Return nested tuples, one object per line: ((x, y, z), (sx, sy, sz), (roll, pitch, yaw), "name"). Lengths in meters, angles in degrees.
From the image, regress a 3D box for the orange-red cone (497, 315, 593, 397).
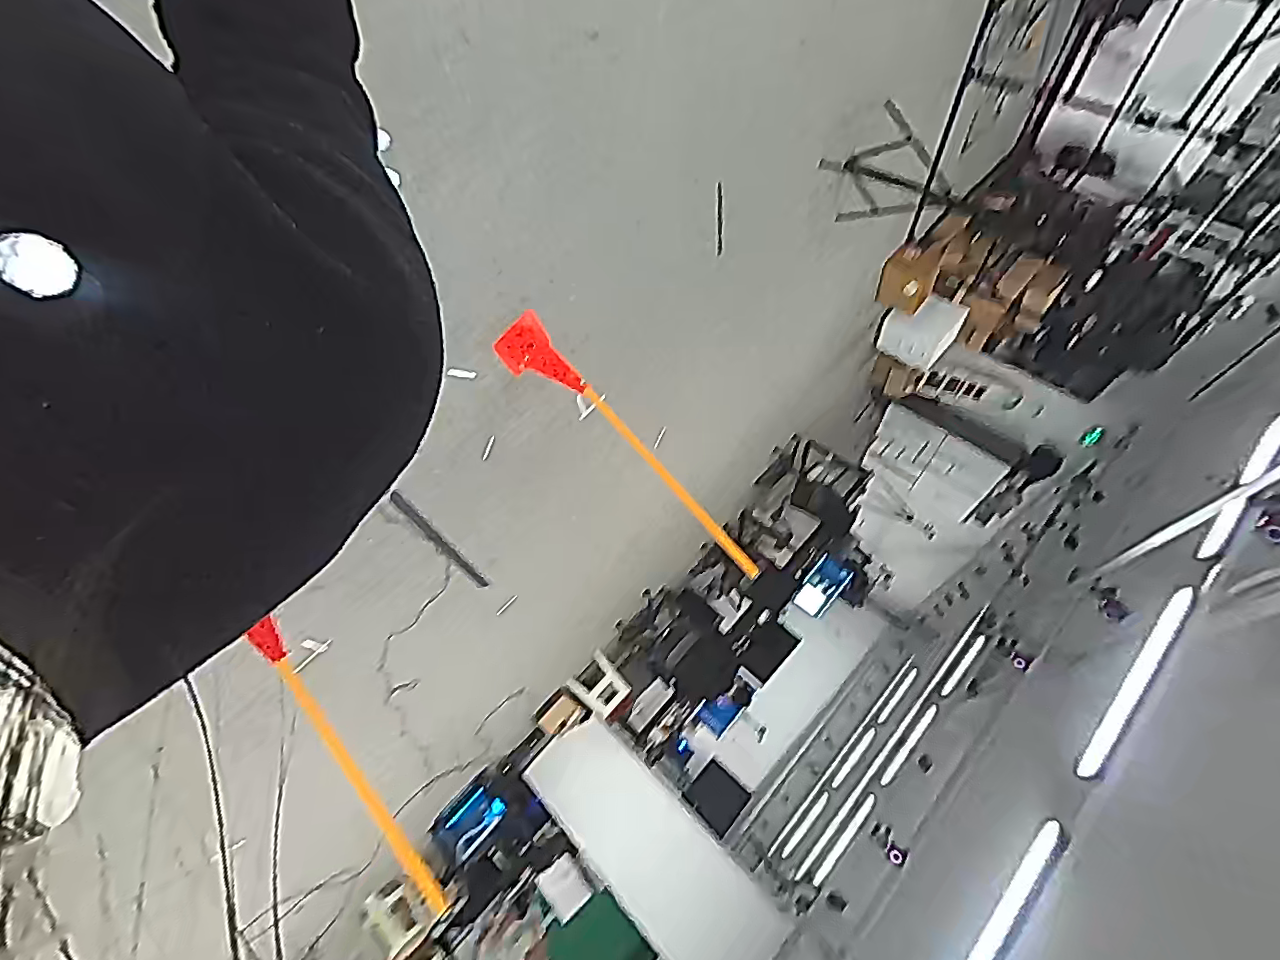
((-0.302, -0.399, 1.920), (0.199, 0.360, 0.198), (-49, 156, -9), "orange-red cone")
